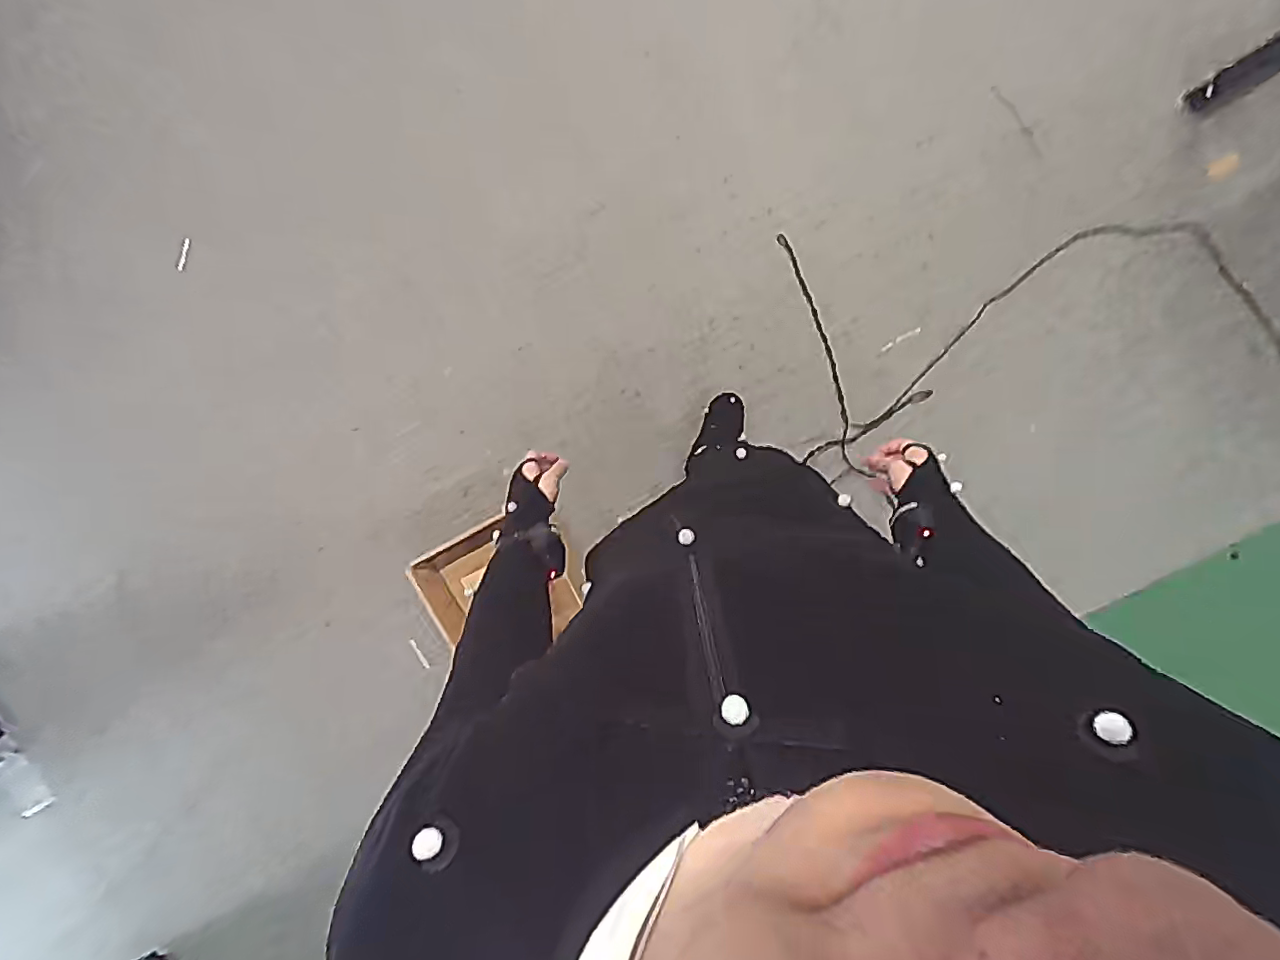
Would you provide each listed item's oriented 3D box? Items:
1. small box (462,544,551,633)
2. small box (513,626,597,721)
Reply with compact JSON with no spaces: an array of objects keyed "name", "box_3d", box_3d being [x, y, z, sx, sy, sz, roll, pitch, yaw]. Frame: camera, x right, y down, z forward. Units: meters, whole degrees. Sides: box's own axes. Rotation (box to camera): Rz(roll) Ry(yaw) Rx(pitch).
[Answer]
[{"name":"small box","box_3d":[-0.369,0.302,1.541,0.179,0.176,0.168,-26,94,5]},{"name":"small box","box_3d":[-0.235,0.550,1.561,0.179,0.176,0.168,-28,93,7]}]
